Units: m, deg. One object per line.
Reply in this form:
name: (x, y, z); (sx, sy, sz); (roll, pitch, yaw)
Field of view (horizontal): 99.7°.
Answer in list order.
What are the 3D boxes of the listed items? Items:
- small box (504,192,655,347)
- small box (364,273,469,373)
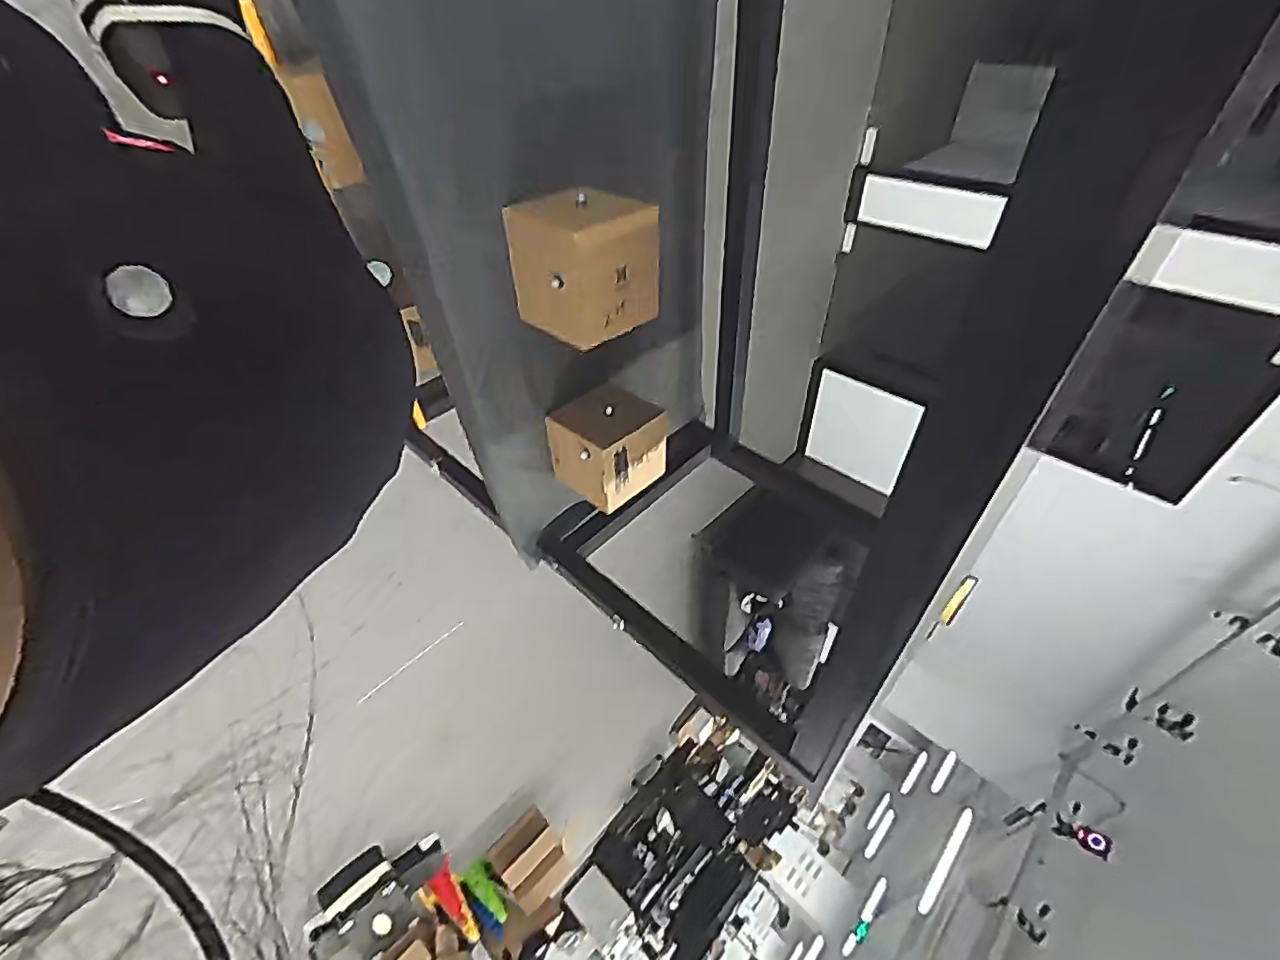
small box: (-0.093, -0.340, 0.853); (0.168, 0.176, 0.179); (-35, 142, -32)
small box: (-0.562, -0.397, 1.352); (0.179, 0.176, 0.168); (-35, 142, -32)
